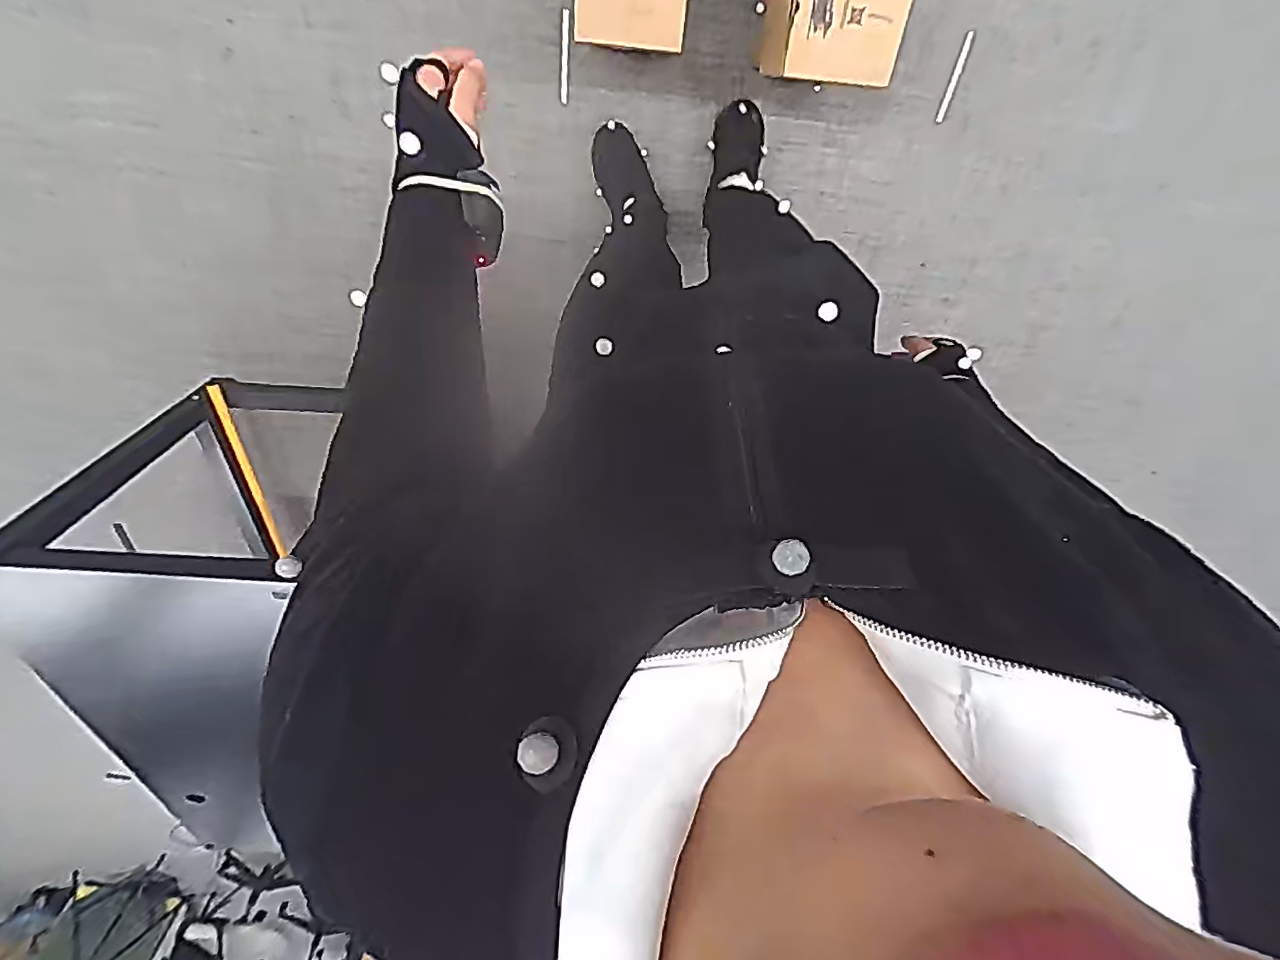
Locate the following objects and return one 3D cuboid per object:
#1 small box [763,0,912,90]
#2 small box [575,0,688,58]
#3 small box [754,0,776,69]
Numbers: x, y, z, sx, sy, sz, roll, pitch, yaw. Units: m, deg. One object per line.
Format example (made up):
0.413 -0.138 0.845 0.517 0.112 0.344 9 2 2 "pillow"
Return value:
0.309 -0.736 0.867 0.179 0.176 0.168 3 127 -5 "small box"
-0.010 -0.770 0.833 0.168 0.176 0.179 4 128 -2 "small box"
0.316 -0.848 0.989 0.168 0.176 0.179 5 128 -6 "small box"
